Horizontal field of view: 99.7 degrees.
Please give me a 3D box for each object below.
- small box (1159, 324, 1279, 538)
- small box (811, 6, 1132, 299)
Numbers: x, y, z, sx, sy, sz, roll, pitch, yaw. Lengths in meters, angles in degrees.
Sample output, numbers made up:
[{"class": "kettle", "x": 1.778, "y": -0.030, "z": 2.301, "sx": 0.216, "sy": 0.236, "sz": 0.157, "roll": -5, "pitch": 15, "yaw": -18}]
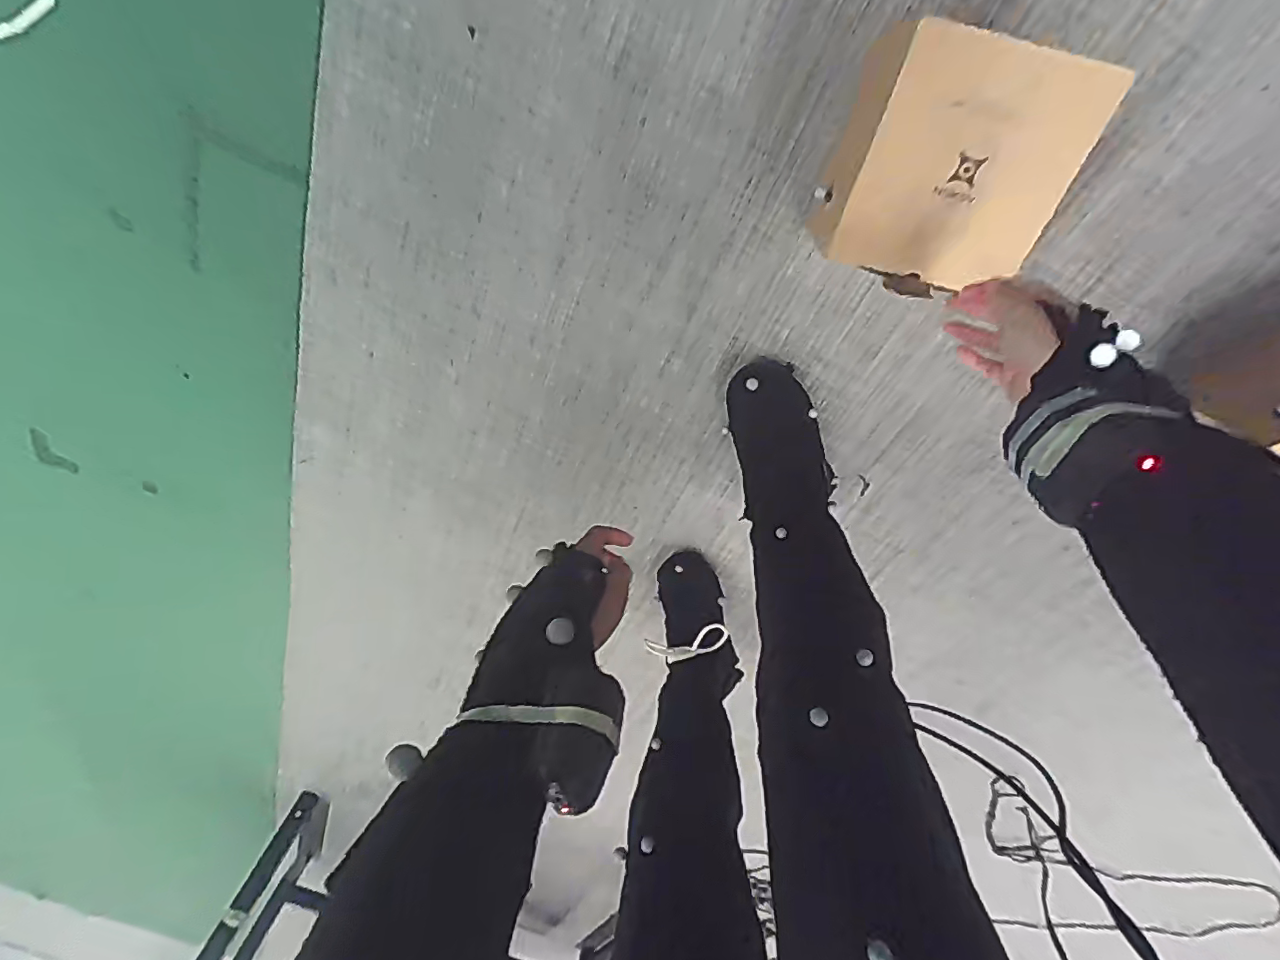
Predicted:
[{"class": "small box", "x": 0.728, "y": -0.062, "z": 0.577, "sx": 0.179, "sy": 0.176, "sz": 0.168, "roll": -33, "pitch": 113, "yaw": 27}, {"class": "small box", "x": 0.270, "y": -0.294, "z": 0.500, "sx": 0.168, "sy": 0.176, "sz": 0.179, "roll": 14, "pitch": 124, "yaw": -1}]
